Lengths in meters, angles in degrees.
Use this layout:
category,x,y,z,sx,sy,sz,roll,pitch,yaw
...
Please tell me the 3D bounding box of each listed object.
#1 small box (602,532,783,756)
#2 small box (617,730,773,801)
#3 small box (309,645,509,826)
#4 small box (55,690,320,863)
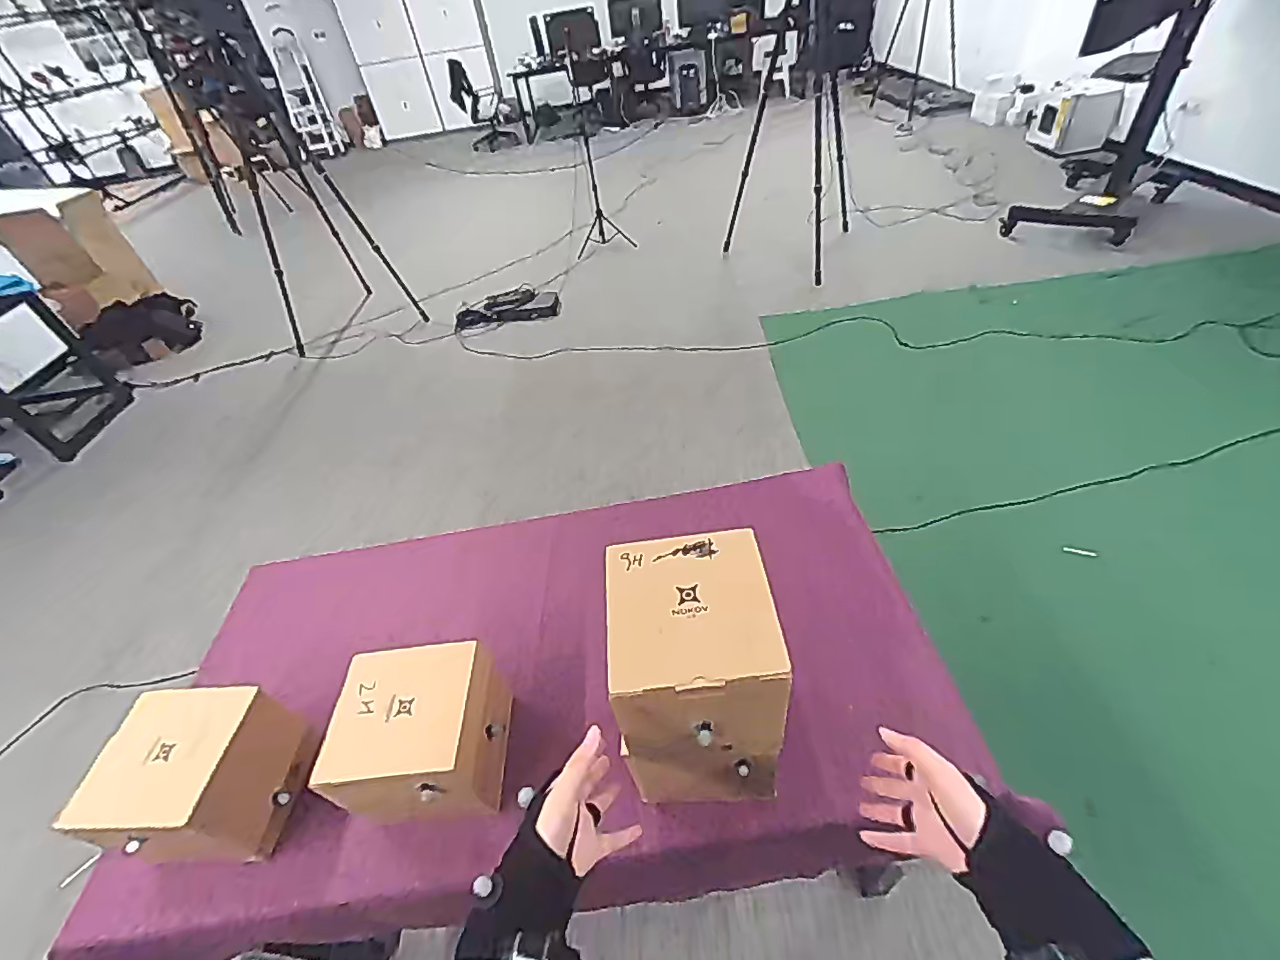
category,x,y,z,sx,sy,sz,roll,pitch,yaw
small box,0.054,0.184,0.592,0.168,0.176,0.179,-7,44,2
small box,0.073,0.303,0.704,0.179,0.176,0.168,-5,43,6
small box,-0.289,0.346,0.729,0.179,0.176,0.168,-8,43,3
small box,-0.585,0.402,0.730,0.179,0.176,0.168,-4,44,6
